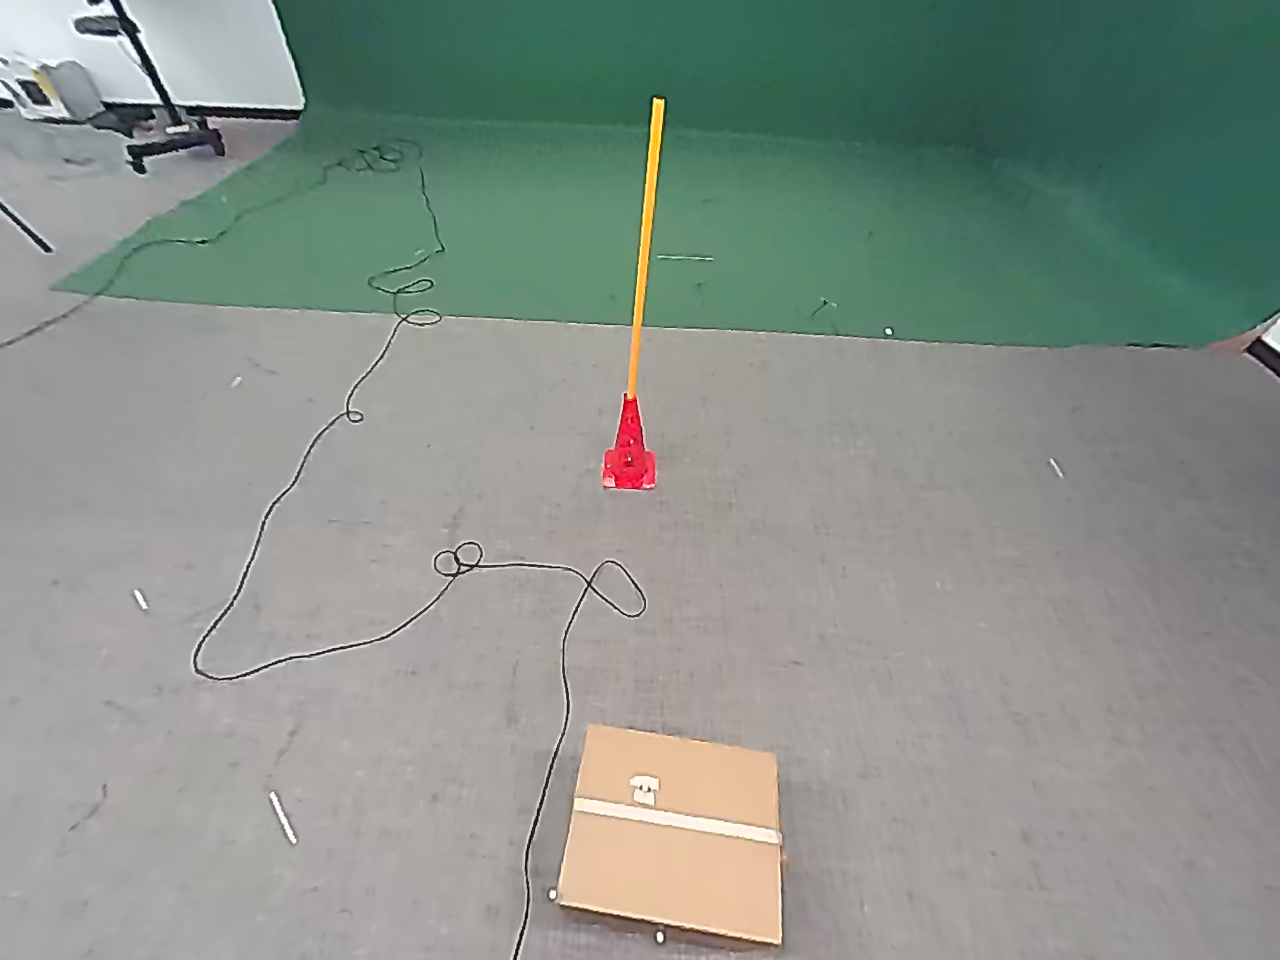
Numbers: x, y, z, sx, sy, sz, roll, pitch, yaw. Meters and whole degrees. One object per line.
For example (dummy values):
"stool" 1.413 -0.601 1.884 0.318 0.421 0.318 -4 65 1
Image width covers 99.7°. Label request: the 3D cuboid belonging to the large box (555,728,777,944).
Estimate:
"large box" 0.062 0.768 1.164 0.408 0.320 0.320 7 47 5
